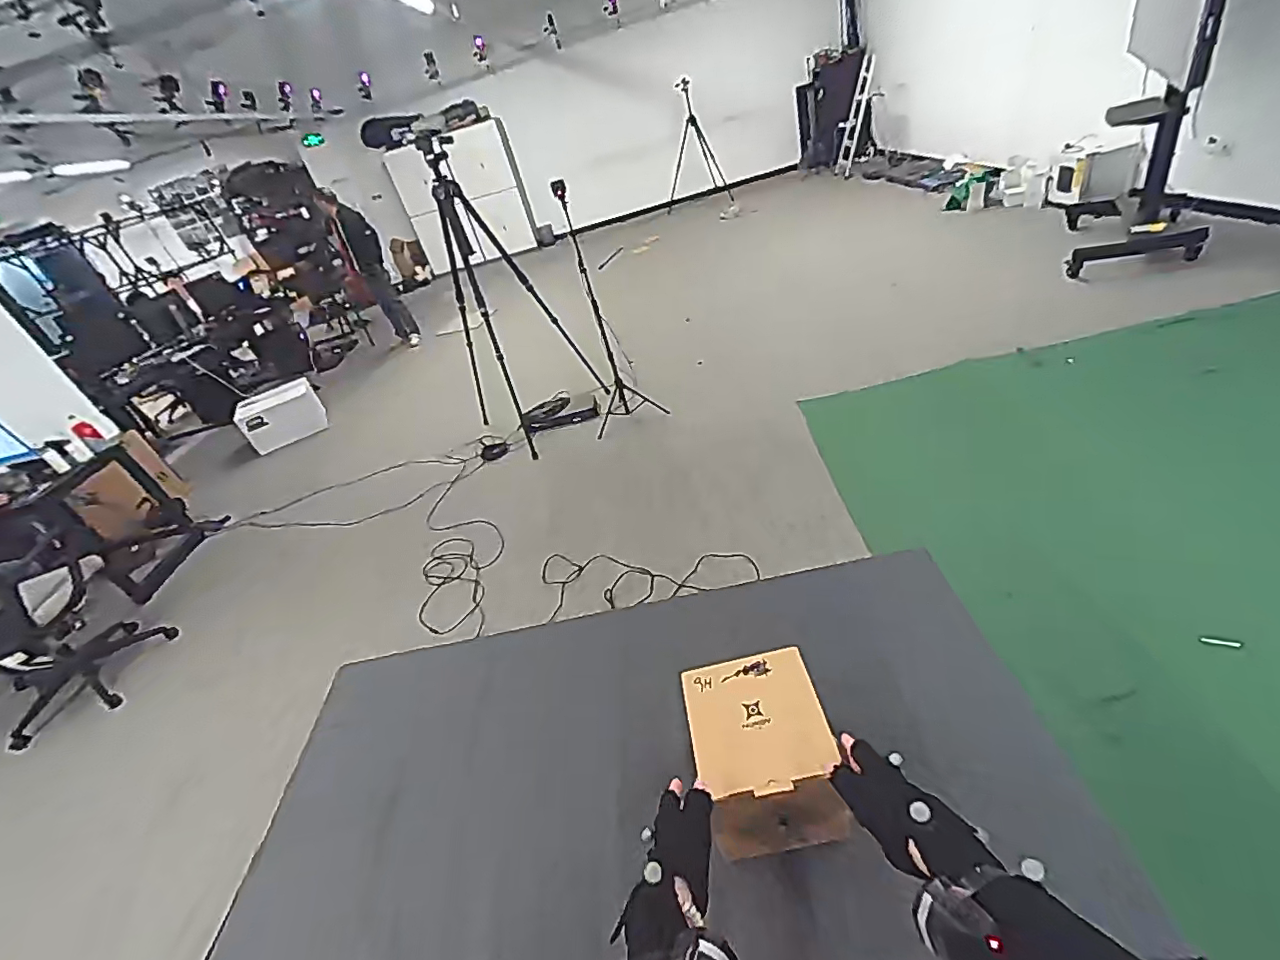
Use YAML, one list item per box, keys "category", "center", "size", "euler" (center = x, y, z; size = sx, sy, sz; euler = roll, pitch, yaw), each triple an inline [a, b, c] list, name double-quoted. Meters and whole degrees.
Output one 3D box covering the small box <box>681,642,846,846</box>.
- category: "small box"
  center: [0.160, 0.349, 0.708]
  size: [0.168, 0.176, 0.179]
  euler: [-14, 34, 4]
